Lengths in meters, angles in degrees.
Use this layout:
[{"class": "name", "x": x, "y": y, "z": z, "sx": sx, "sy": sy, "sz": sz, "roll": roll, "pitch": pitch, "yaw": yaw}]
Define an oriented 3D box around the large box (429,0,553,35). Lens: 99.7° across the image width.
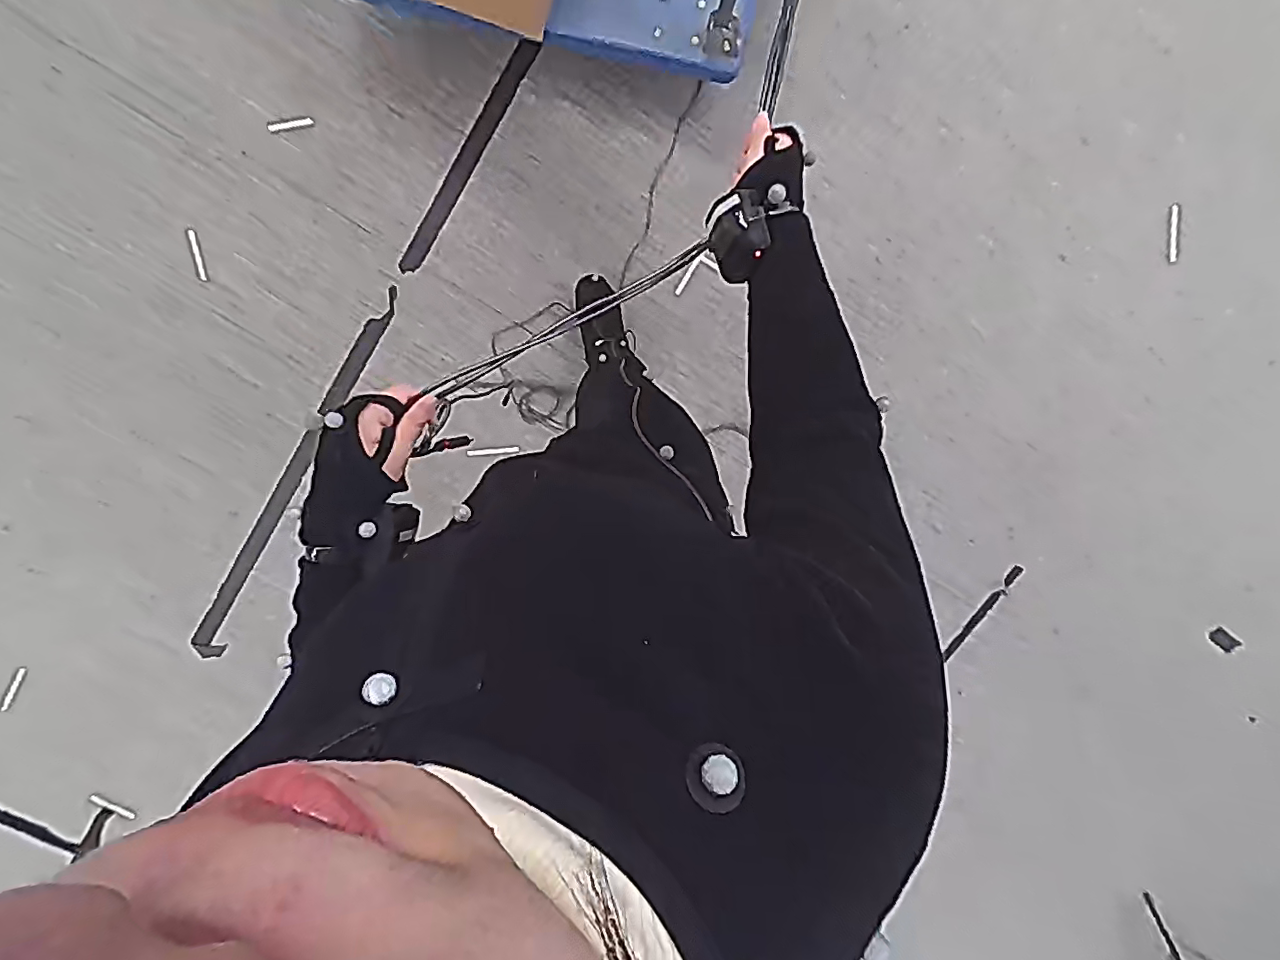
[{"class": "large box", "x": -0.341, "y": -1.068, "z": 0.921, "sx": 0.408, "sy": 0.320, "sz": 0.320, "roll": 16, "pitch": 99, "yaw": -4}]
